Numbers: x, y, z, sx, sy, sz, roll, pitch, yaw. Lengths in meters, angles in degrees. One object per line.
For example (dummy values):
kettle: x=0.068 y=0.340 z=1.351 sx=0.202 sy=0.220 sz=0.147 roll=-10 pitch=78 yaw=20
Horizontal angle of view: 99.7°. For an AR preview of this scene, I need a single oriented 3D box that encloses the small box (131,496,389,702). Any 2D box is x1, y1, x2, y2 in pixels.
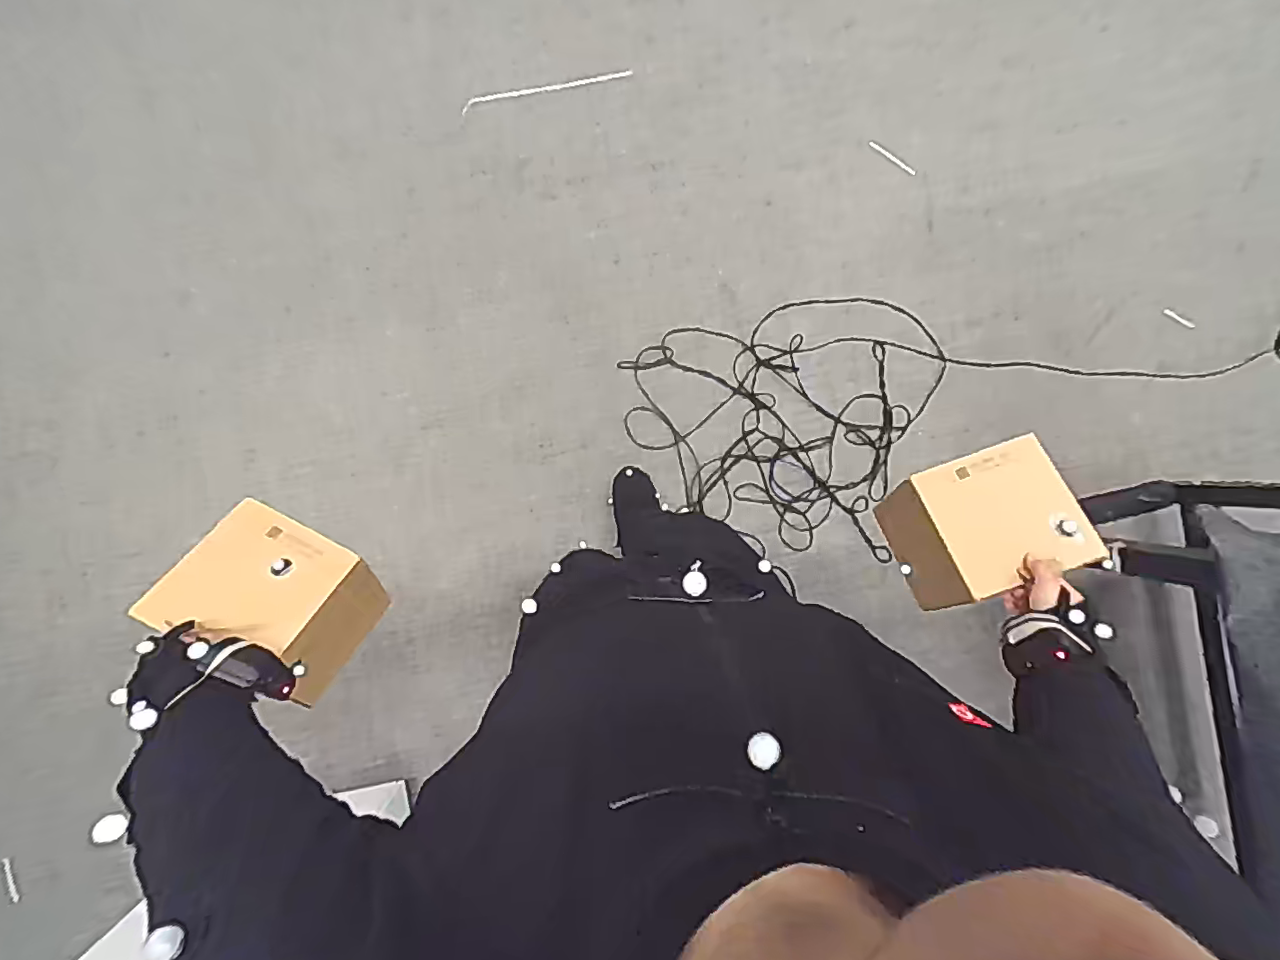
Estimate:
small box: x=-0.449 y=0.151 z=0.680 sx=0.168 sy=0.179 sz=0.176 roll=25 pitch=59 yaw=5
